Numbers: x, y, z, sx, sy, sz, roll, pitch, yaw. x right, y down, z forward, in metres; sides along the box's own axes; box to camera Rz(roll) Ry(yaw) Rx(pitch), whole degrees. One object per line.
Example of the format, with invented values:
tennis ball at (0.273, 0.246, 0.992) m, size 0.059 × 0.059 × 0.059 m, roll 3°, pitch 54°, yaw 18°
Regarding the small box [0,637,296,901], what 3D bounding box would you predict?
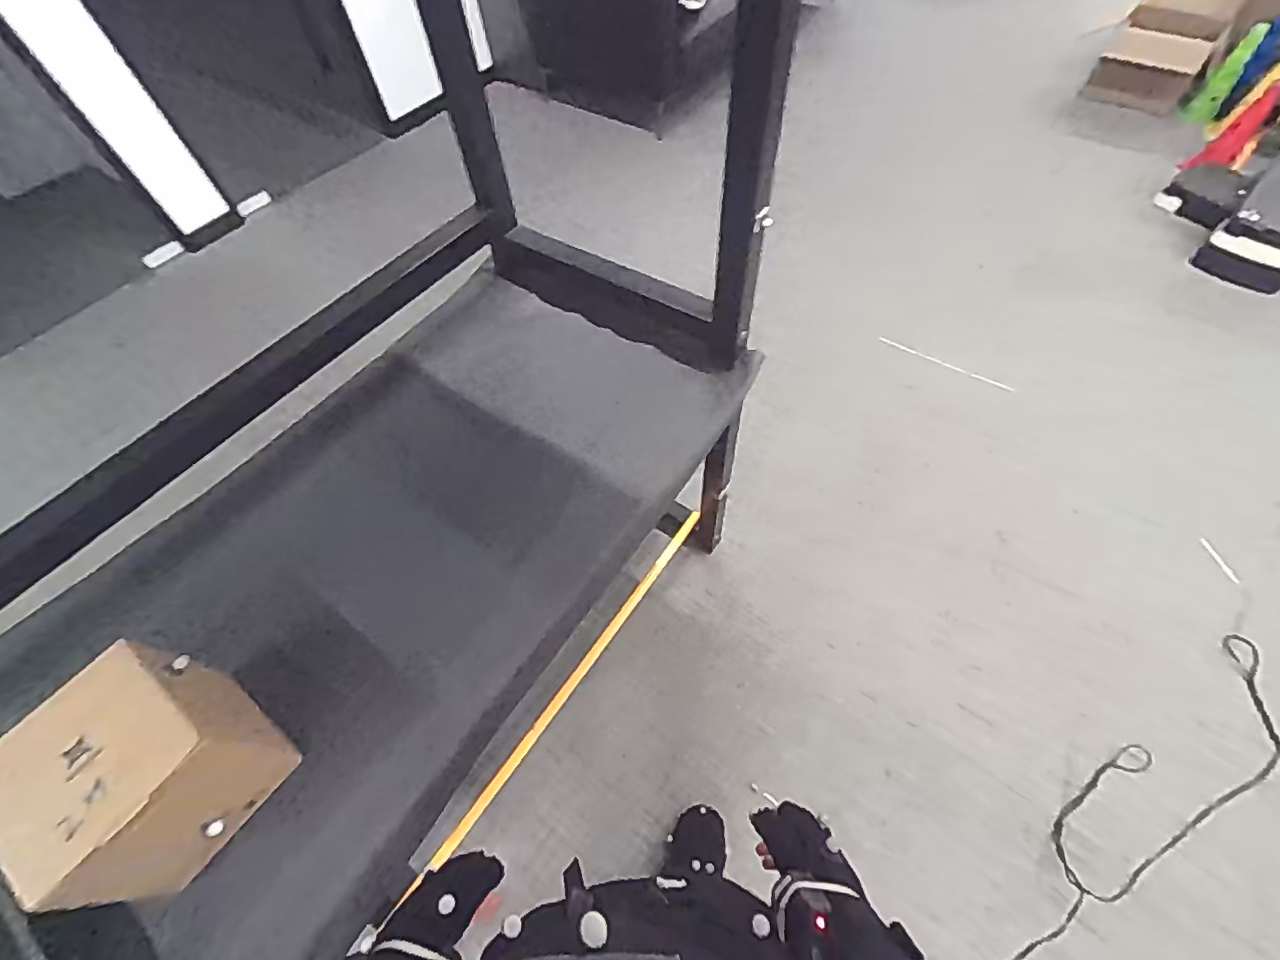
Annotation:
small box at (-0.531, 0.307, 0.586) m, size 0.179 × 0.176 × 0.168 m, roll 30°, pitch 64°, yaw 21°
